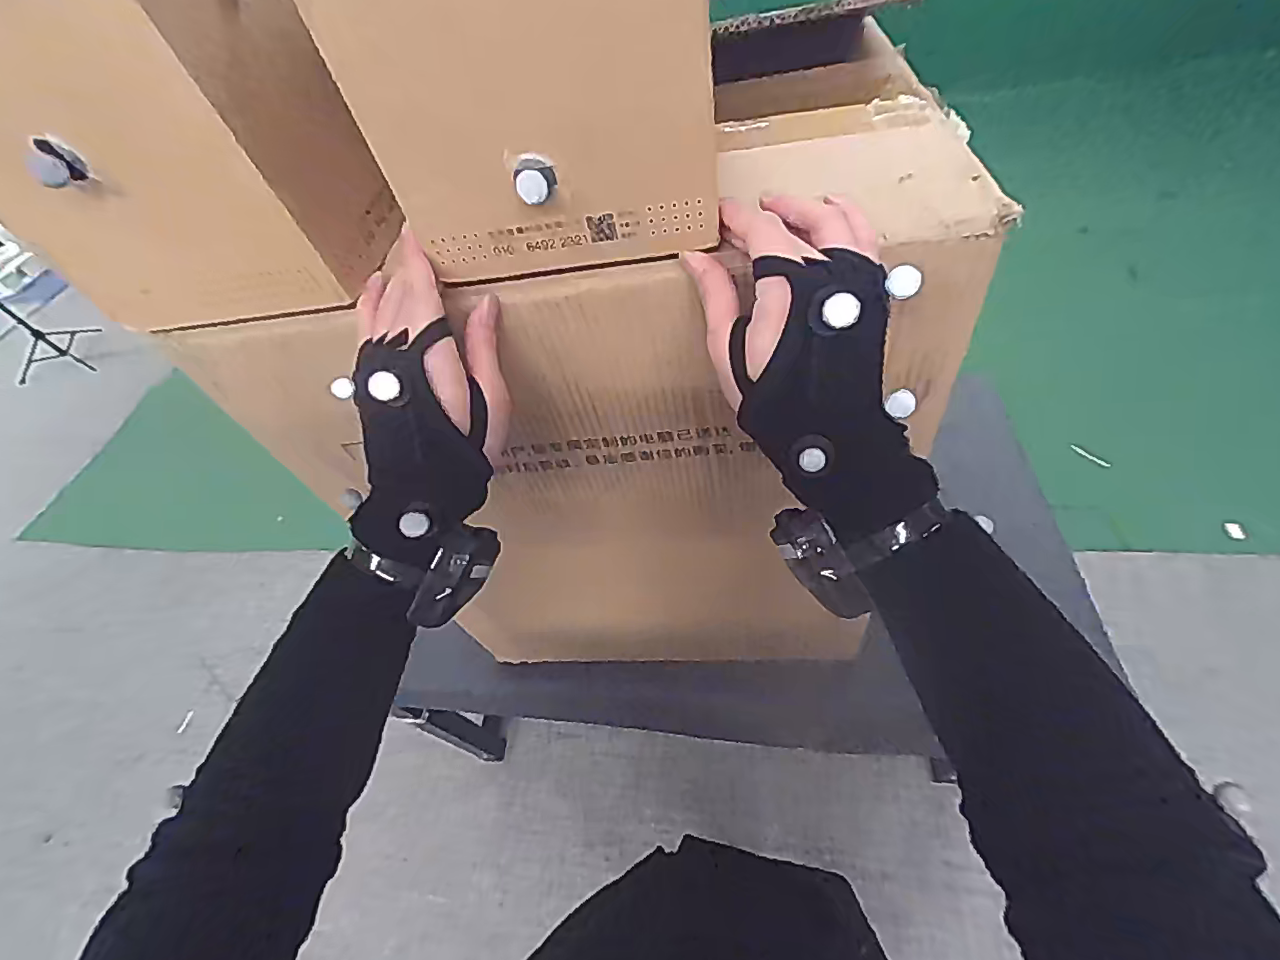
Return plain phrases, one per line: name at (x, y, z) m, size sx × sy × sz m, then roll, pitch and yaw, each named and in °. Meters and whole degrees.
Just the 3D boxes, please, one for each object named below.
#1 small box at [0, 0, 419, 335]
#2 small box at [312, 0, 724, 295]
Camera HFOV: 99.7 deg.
small box at (-0.260, -0.204, 0.323) m, size 0.179 × 0.176 × 0.168 m, roll -3°, pitch 54°, yaw 11°
small box at (-0.042, -0.225, 0.289) m, size 0.168 × 0.176 × 0.179 m, roll -3°, pitch 54°, yaw 9°
